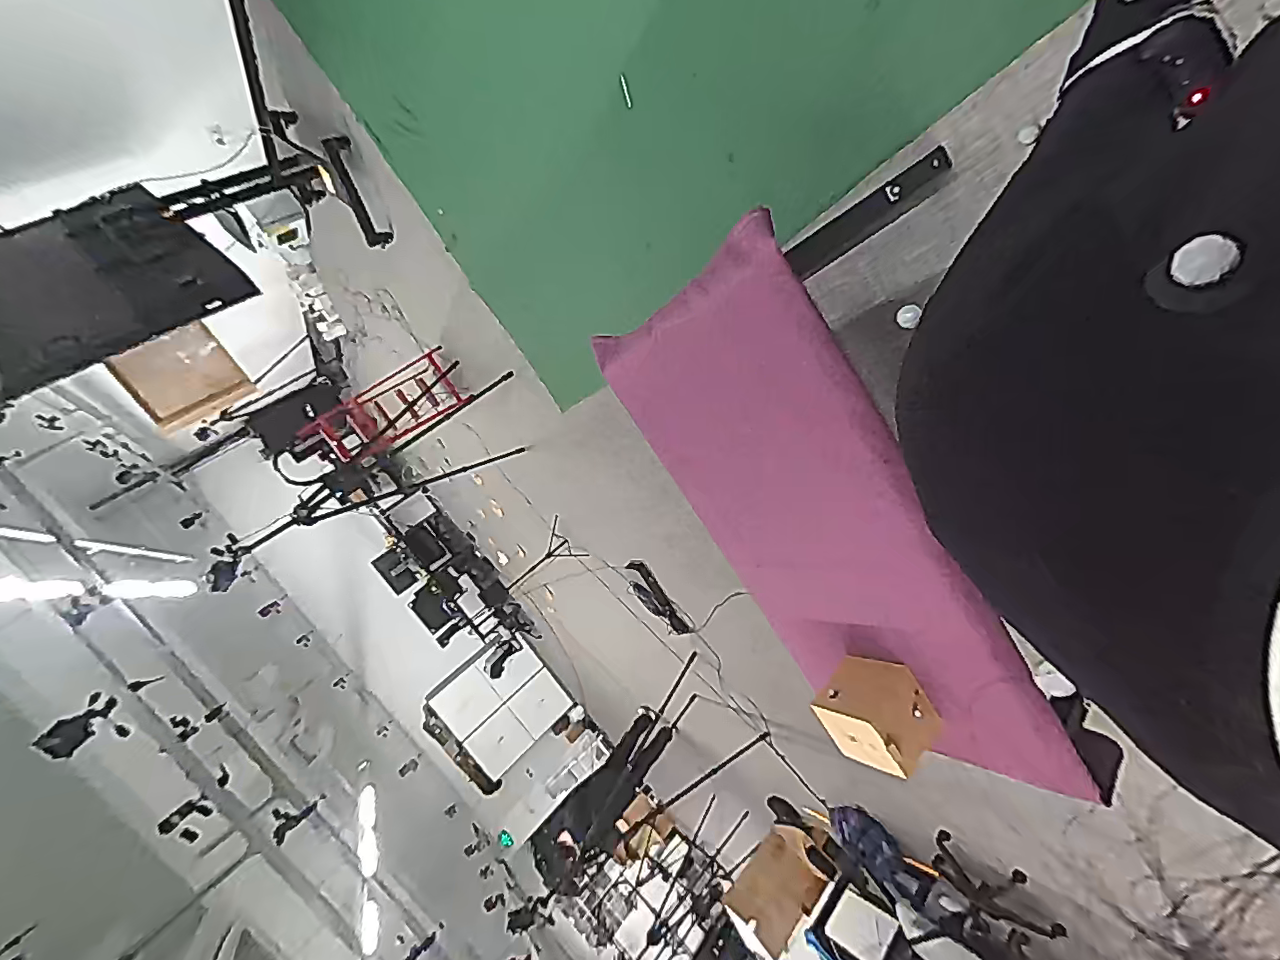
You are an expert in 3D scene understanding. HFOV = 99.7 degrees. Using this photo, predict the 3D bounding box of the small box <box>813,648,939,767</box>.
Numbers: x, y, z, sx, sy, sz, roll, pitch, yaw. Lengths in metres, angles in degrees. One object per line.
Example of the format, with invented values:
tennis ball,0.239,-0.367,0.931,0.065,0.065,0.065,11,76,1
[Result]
small box,0.548,0.515,1.254,0.168,0.176,0.179,55,152,-10
